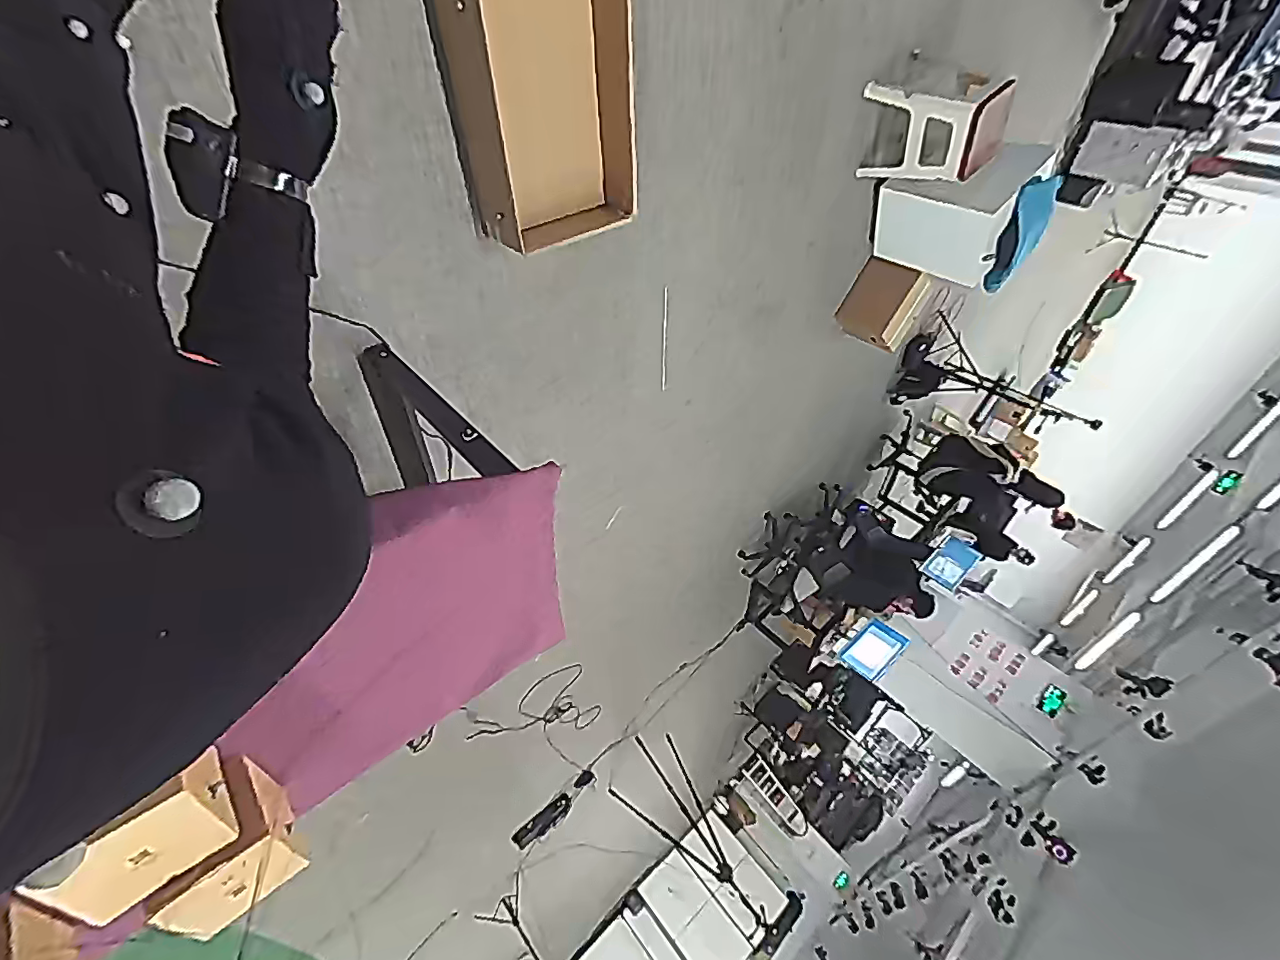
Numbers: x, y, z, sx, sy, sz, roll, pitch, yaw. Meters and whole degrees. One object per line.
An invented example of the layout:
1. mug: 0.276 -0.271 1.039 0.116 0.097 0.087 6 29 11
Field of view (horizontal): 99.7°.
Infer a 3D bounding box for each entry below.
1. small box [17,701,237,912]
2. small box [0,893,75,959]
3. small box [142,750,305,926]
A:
1. small box: -0.720 0.448 0.766 0.168 0.176 0.179 -28 141 -33
2. small box: -0.949 0.739 0.767 0.168 0.176 0.179 -27 141 -35
3. small box: -0.715 0.605 0.926 0.168 0.176 0.179 -30 141 -31
